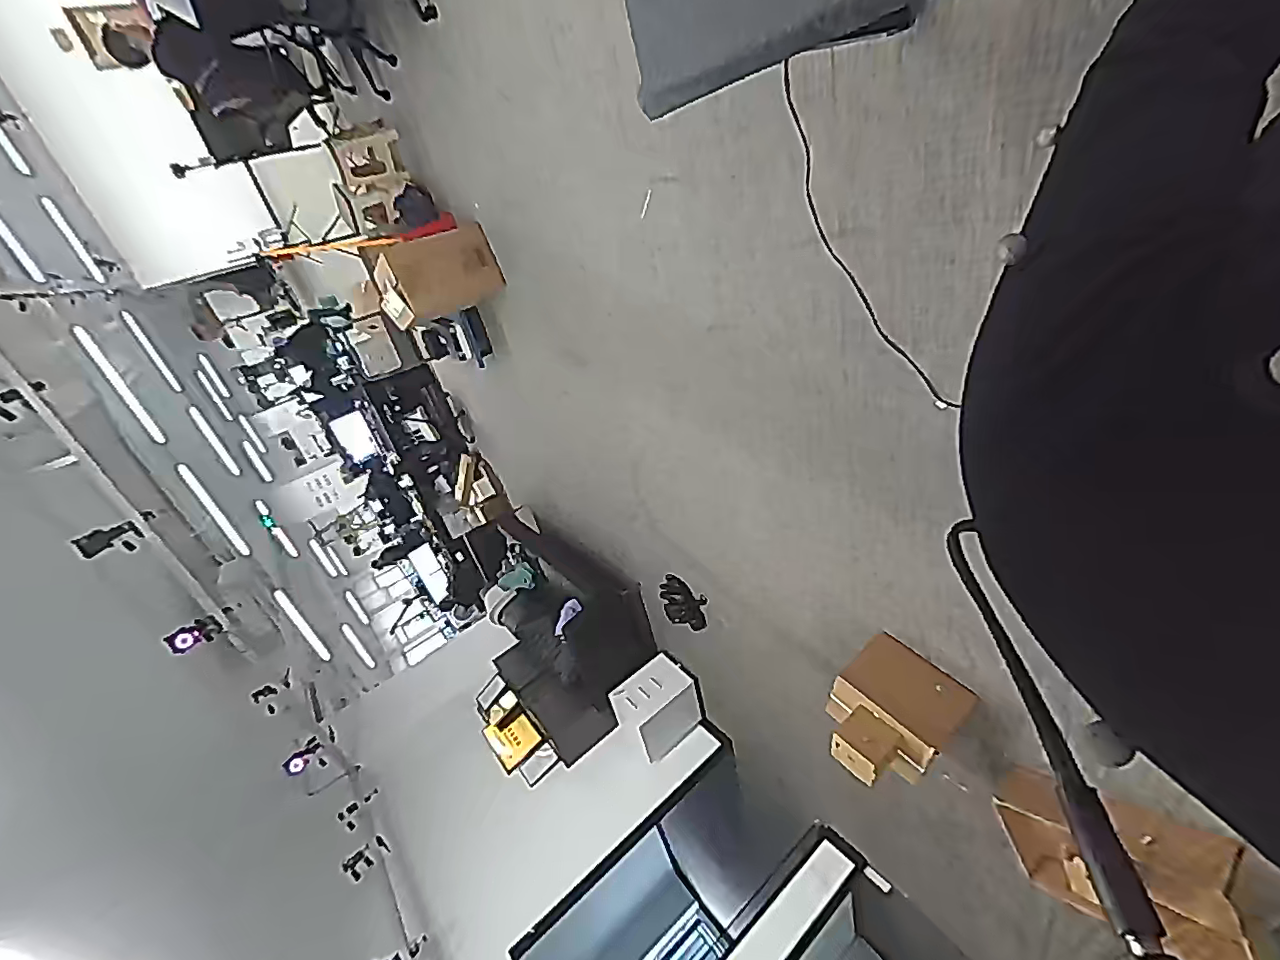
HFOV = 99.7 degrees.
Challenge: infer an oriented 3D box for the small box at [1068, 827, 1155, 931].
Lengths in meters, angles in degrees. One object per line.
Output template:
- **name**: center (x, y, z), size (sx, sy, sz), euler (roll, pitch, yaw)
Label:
- **small box**: center (1.526, 1.278, 1.748), size (0.168, 0.176, 0.179), euler (2, 121, 59)

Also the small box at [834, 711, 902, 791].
- **small box**: center (0.859, 1.015, 2.038), size (0.179, 0.176, 0.168), euler (31, 142, 43)
